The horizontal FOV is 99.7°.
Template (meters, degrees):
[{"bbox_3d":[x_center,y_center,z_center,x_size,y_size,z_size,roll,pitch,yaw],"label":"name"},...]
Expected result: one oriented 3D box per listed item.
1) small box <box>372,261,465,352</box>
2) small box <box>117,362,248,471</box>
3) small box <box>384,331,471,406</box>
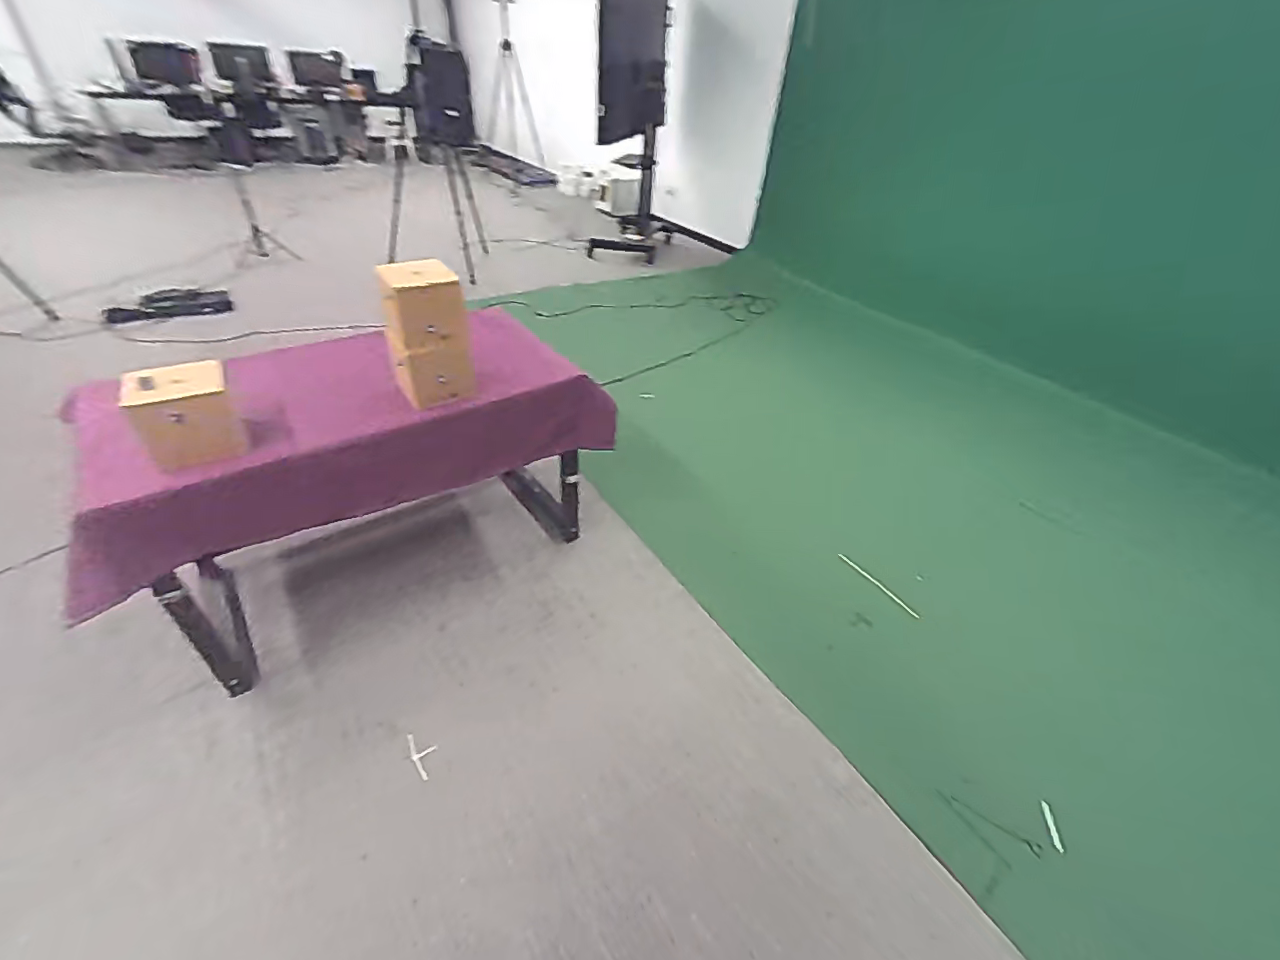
[{"bbox_3d":[-0.570,-0.450,1.398,0.168,0.176,0.179,-22,47,-30],"label":"small box"},{"bbox_3d":[-1.023,-0.143,1.221,0.179,0.176,0.168,-19,44,-29],"label":"small box"},{"bbox_3d":[-0.581,-0.317,1.493,0.168,0.176,0.179,-22,45,-30],"label":"small box"}]
